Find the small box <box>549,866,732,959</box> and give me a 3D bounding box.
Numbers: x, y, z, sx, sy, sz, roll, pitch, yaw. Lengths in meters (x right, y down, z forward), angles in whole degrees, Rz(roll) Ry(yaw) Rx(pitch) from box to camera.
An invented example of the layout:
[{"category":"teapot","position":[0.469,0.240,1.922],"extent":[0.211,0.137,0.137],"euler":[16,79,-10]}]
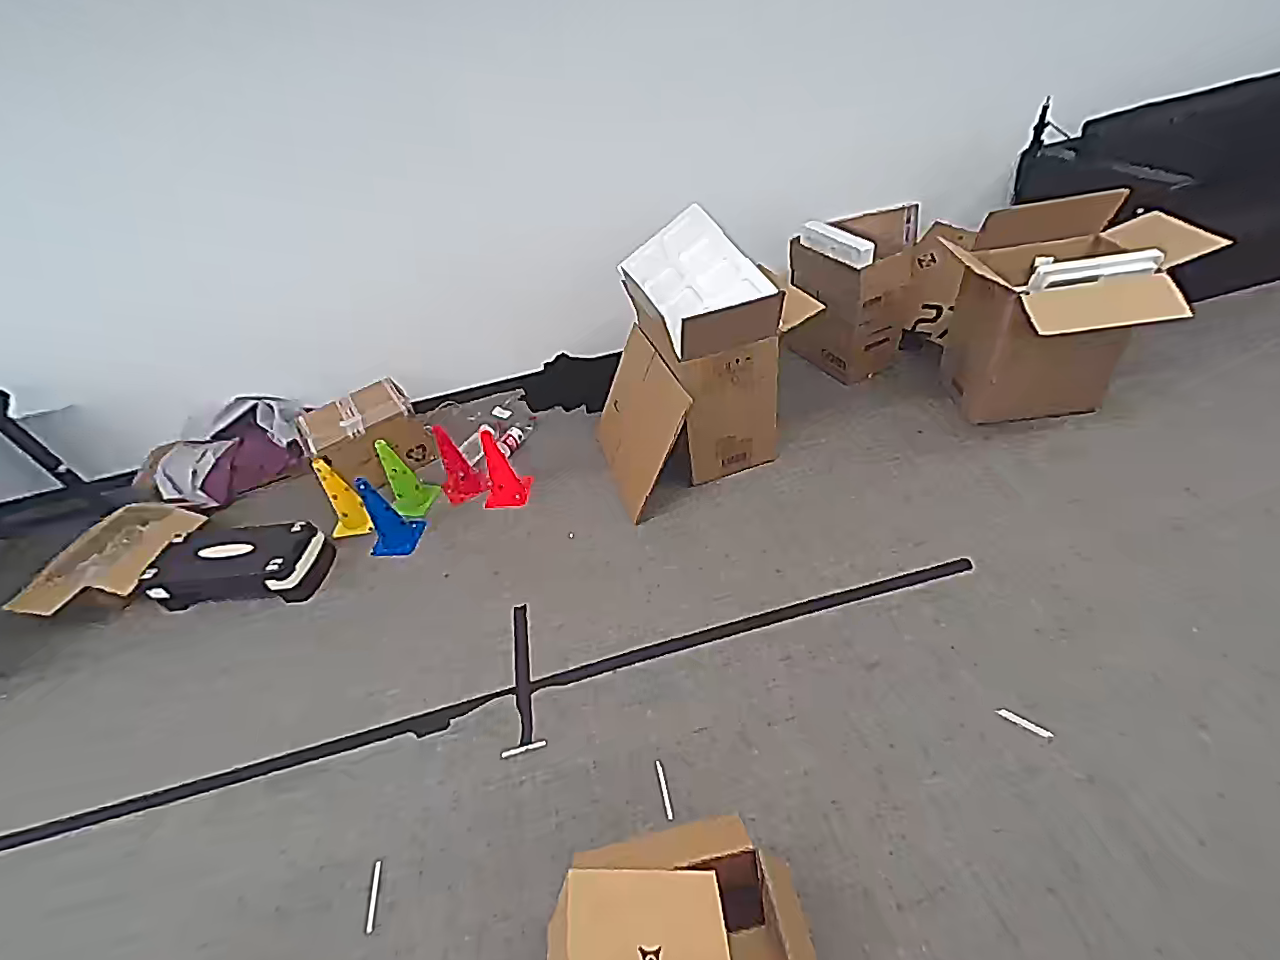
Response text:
[{"category":"small box","position":[-0.006,0.531,0.548],"extent":[0.168,0.176,0.179],"euler":[8,32,-9]}]
